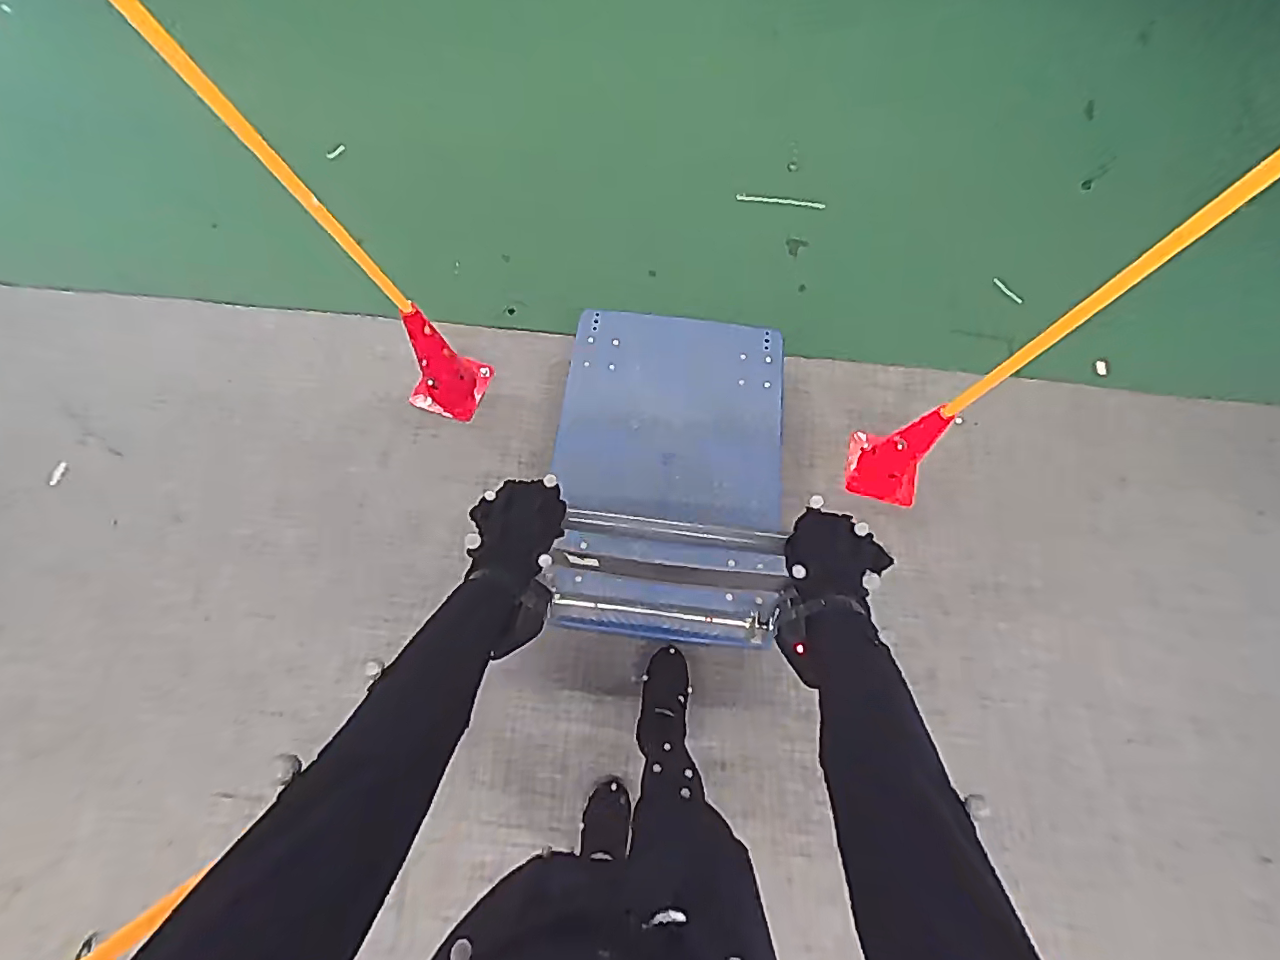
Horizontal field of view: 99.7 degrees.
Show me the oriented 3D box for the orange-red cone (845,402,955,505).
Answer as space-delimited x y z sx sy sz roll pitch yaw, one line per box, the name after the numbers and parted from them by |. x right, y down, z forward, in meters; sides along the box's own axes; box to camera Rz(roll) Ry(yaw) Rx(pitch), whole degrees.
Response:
0.700 -0.098 1.394 0.198 0.360 0.199 16 71 6 | orange-red cone
